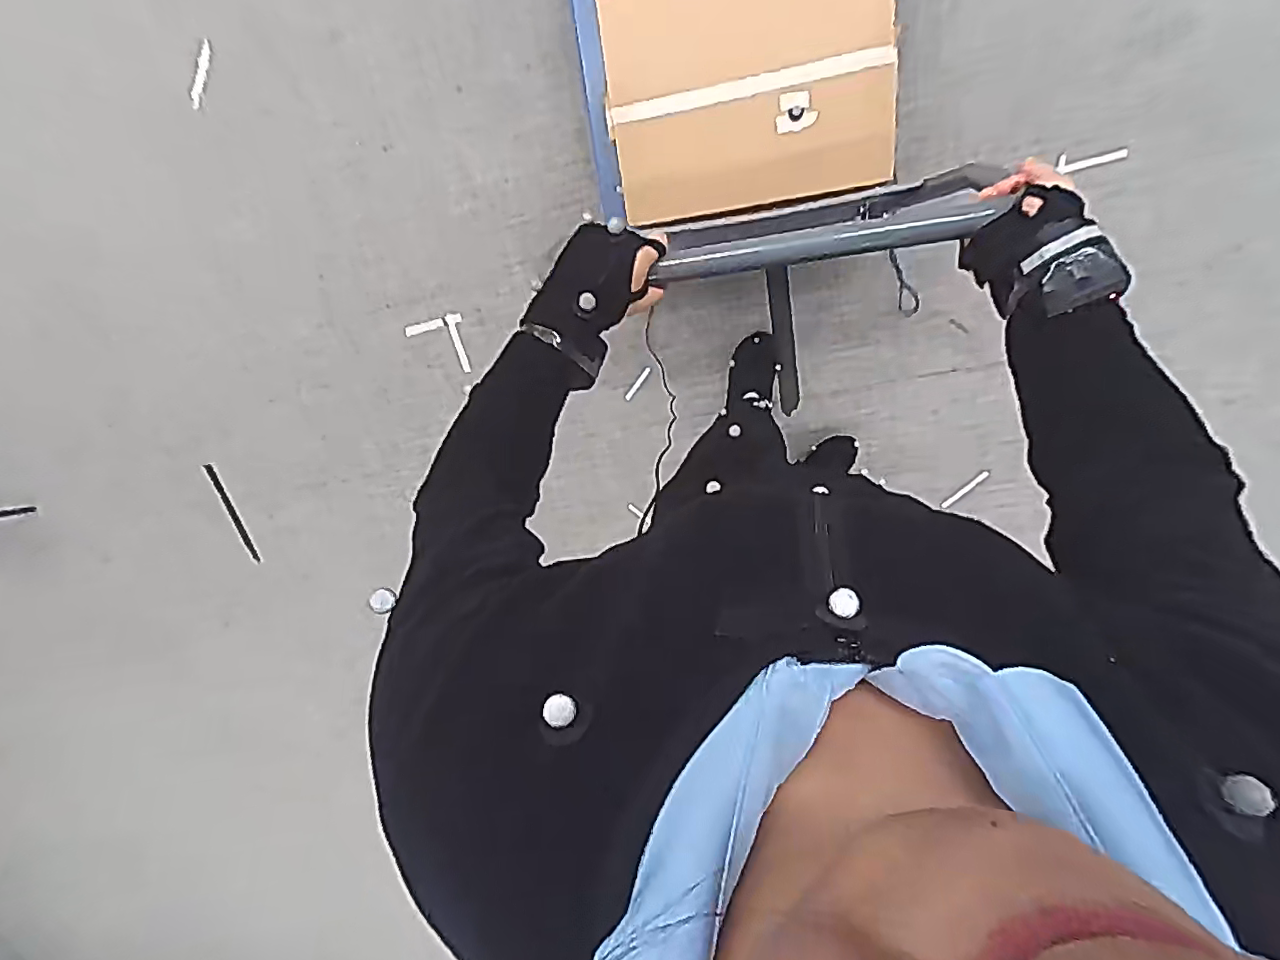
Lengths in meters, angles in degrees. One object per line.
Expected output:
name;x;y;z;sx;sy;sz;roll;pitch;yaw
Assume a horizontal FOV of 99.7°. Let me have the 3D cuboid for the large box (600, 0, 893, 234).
large box;0.178;-0.632;0.927;0.408;0.320;0.320;-6;112;11
